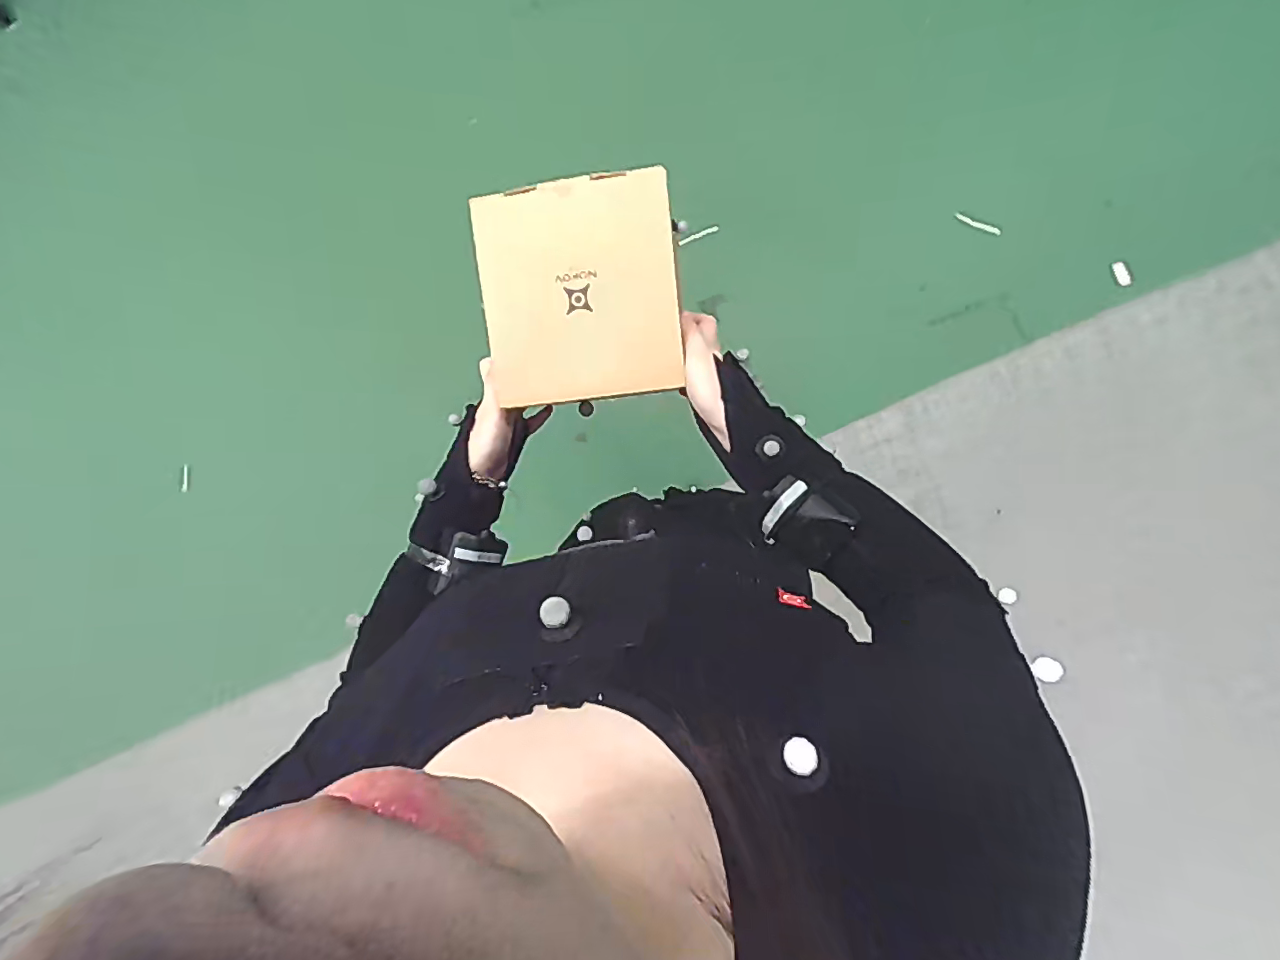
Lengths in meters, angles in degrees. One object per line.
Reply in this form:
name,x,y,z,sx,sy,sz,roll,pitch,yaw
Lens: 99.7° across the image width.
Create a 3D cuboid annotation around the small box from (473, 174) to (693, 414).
small box,-0.039,-0.162,0.525,0.168,0.176,0.179,-5,98,8
